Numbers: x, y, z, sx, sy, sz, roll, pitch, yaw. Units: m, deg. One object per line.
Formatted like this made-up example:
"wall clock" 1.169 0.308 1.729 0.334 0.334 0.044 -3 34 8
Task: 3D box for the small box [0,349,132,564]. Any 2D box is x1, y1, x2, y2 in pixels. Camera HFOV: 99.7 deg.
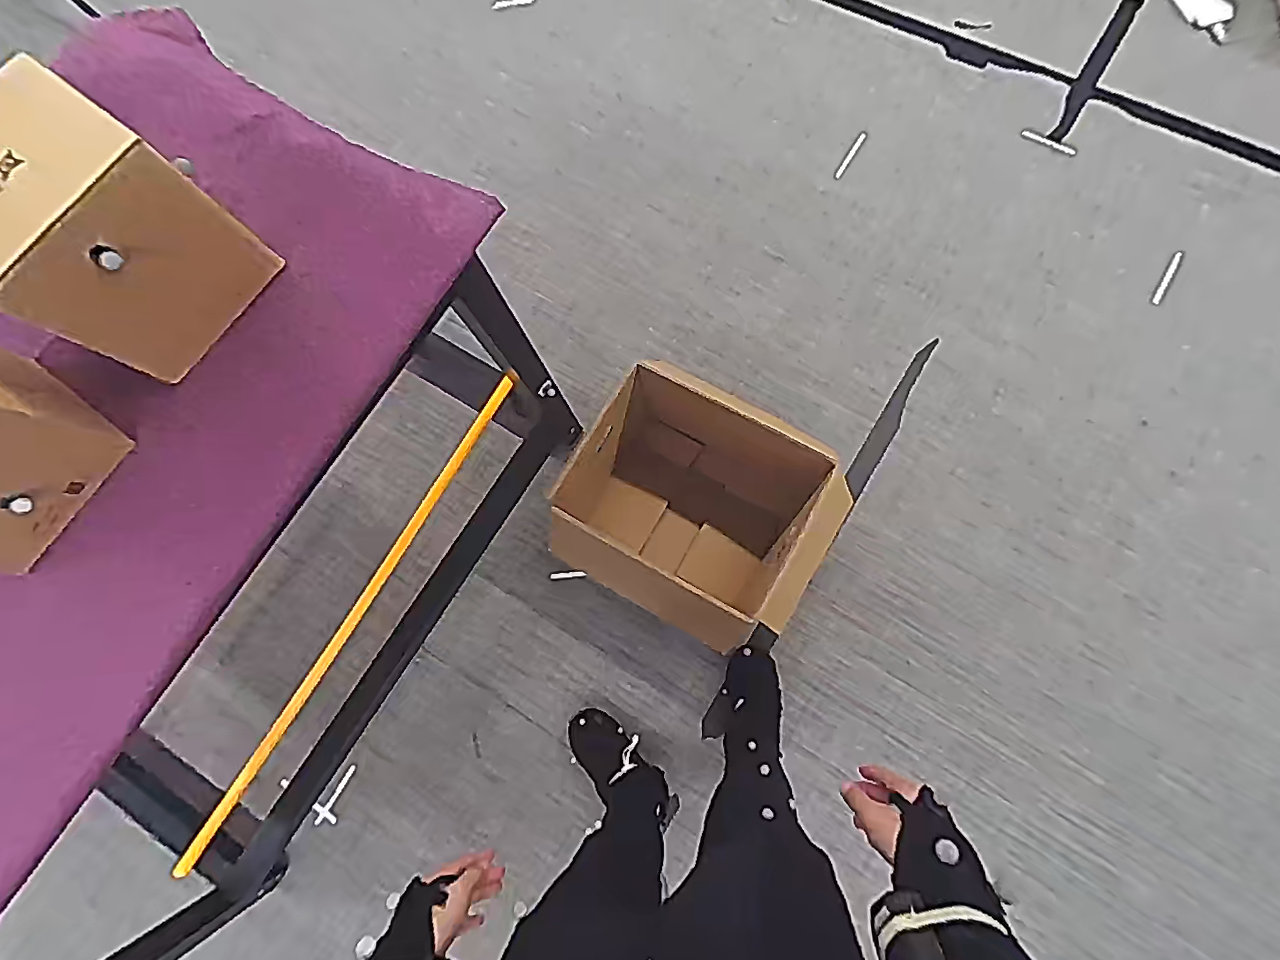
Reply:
"small box" -0.637 -0.036 0.483 0.179 0.176 0.168 34 83 10

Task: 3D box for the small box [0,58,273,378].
"small box" -0.501 -0.233 0.517 0.168 0.176 0.179 36 83 12
